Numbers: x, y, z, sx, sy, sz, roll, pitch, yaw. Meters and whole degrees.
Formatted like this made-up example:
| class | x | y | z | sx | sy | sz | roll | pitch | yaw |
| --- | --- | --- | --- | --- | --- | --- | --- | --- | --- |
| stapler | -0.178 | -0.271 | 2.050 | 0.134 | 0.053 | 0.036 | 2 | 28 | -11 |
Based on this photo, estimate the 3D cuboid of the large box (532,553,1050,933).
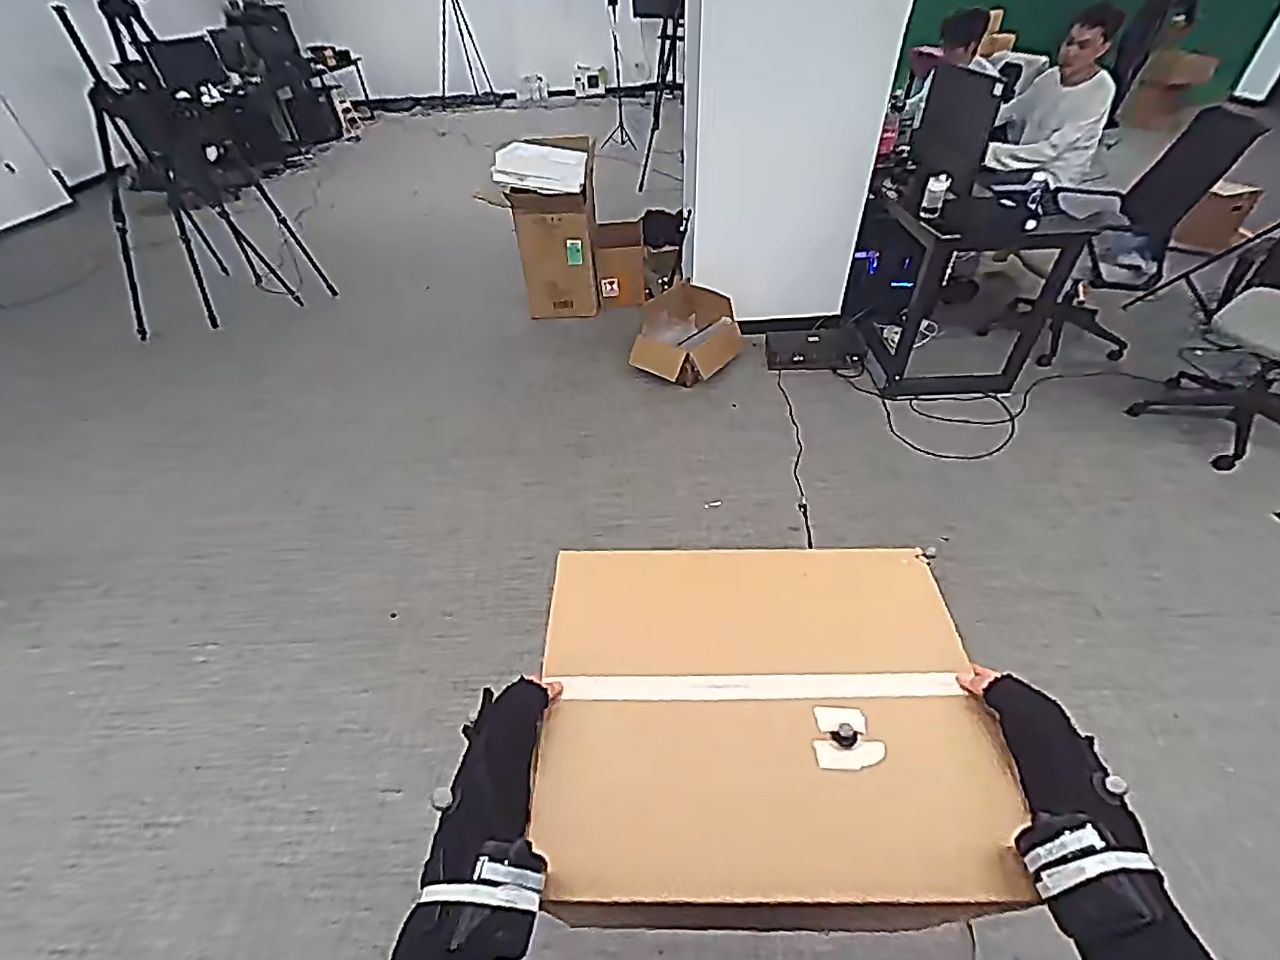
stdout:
| class | x | y | z | sx | sy | sz | roll | pitch | yaw |
| --- | --- | --- | --- | --- | --- | --- | --- | --- | --- |
| large box | 0.113 | 0.299 | 0.616 | 0.408 | 0.320 | 0.320 | 0 | 47 | 1 |
